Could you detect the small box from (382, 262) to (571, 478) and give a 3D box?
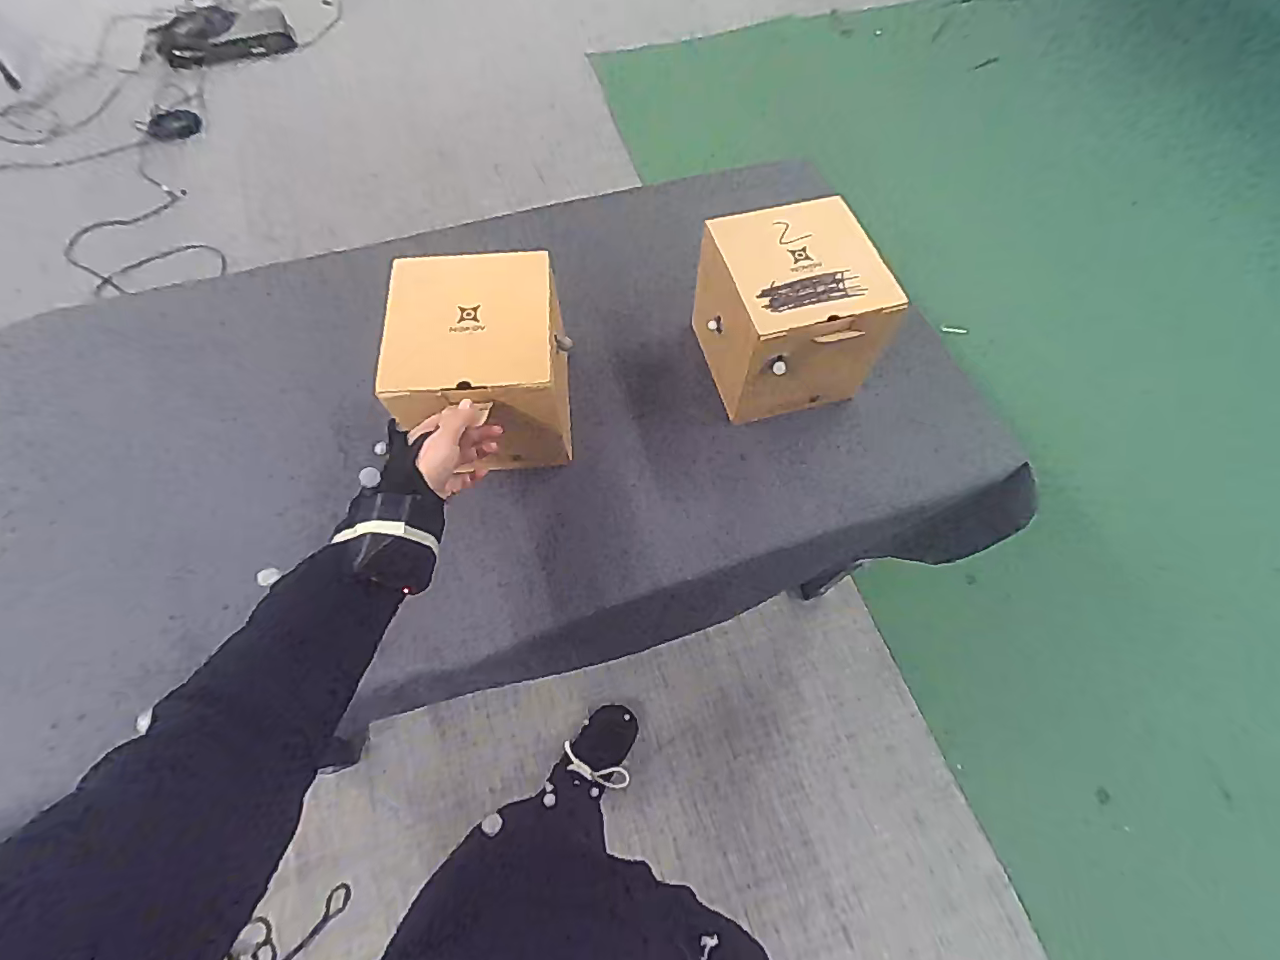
[{"bbox_3d":[-0.169,-0.120,0.617,0.168,0.176,0.179,-4,65,-3],"label":"small box"}]
